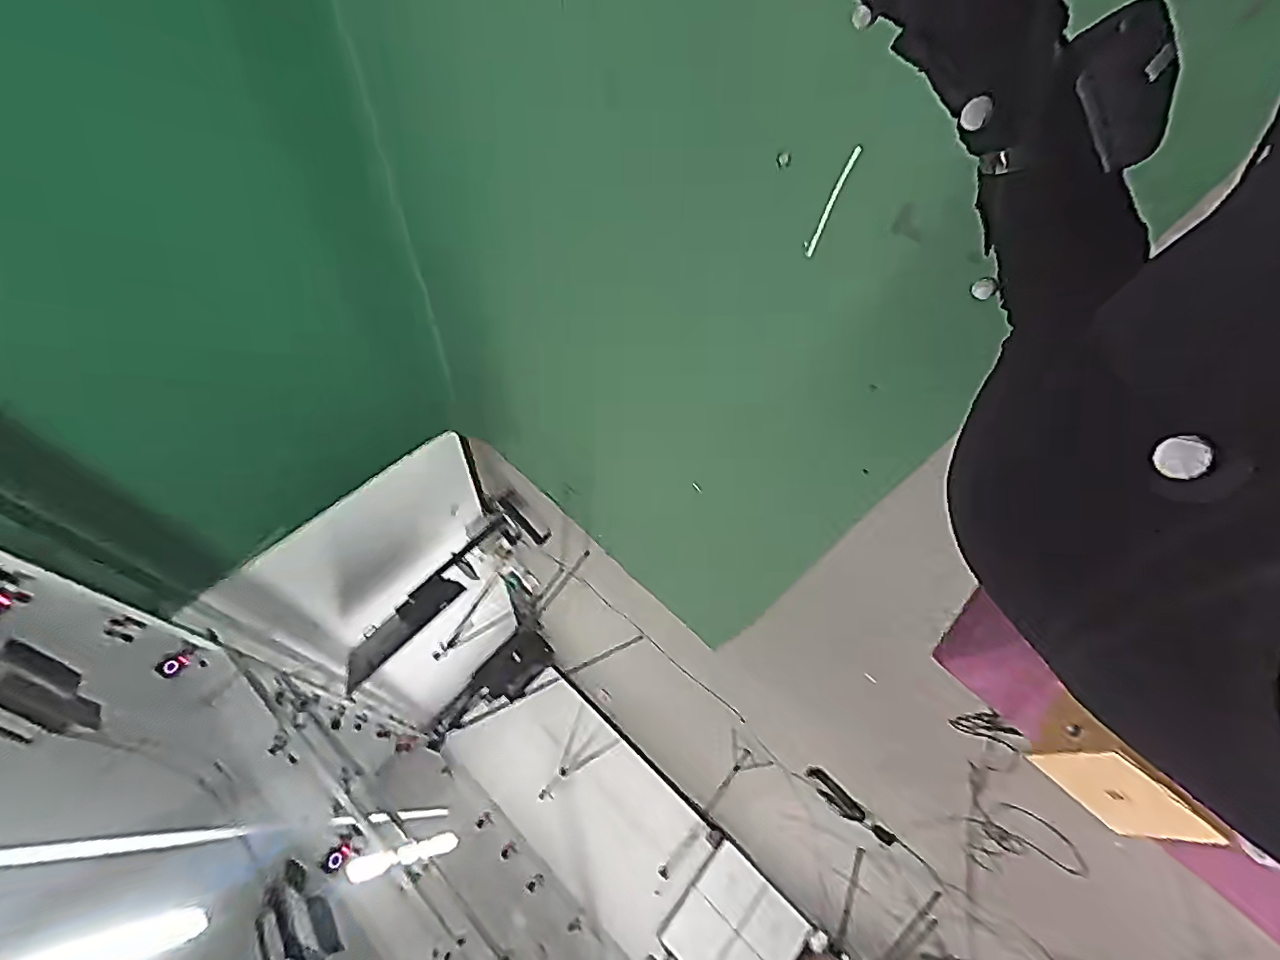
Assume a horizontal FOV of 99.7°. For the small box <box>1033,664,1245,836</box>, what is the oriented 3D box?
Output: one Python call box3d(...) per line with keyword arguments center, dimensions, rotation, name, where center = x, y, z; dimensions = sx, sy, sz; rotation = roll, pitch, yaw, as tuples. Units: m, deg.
box3d(center=(0.775, 0.413, 0.844), dimensions=(0.168, 0.176, 0.179), rotation=(41, 153, 13), name="small box")
